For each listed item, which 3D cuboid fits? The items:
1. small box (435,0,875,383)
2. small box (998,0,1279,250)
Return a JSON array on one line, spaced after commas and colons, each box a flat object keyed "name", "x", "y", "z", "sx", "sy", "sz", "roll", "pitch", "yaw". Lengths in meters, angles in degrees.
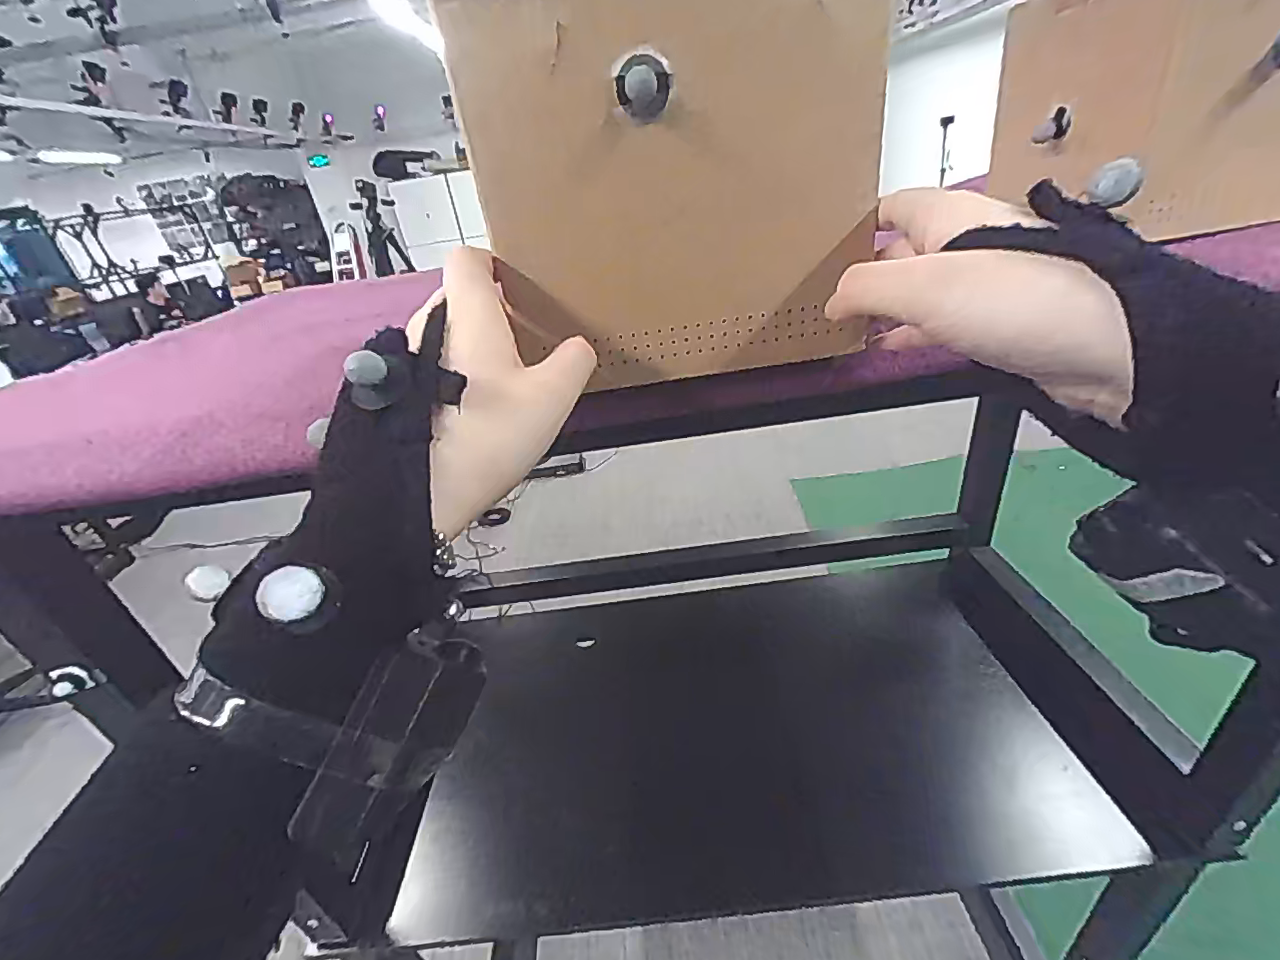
[{"name": "small box", "x": 0.016, "y": -0.162, "z": 0.305, "sx": 0.179, "sy": 0.176, "sz": 0.168, "roll": -7, "pitch": 30, "yaw": 2}, {"name": "small box", "x": 0.388, "y": -0.270, "z": 0.385, "sx": 0.179, "sy": 0.176, "sz": 0.168, "roll": -9, "pitch": 28, "yaw": 4}]
